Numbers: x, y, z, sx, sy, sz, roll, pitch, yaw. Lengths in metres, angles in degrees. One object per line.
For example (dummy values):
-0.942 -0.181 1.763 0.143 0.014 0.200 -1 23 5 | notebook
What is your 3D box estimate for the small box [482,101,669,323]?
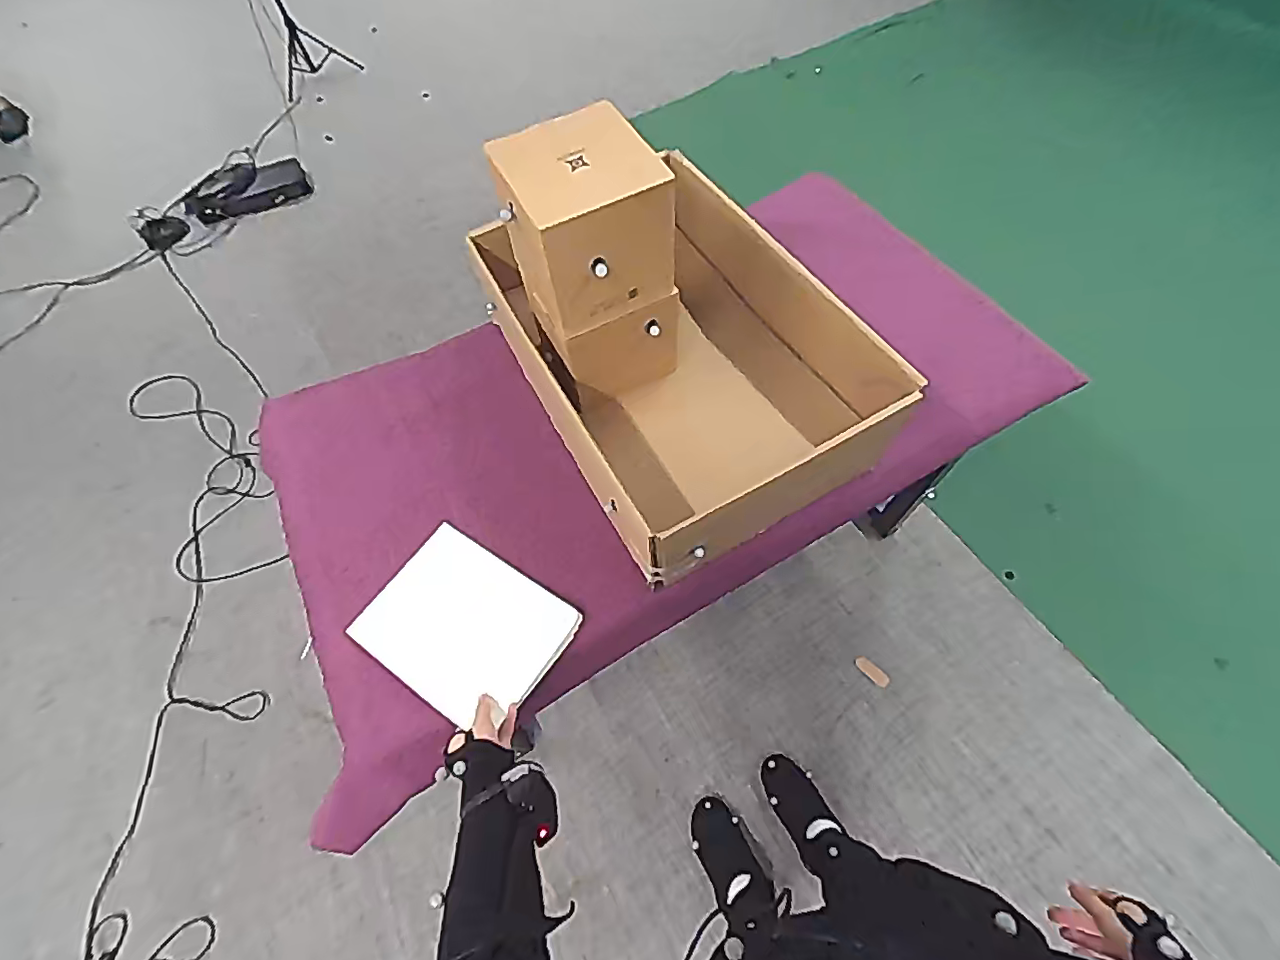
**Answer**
-0.071 -0.325 0.682 0.168 0.176 0.179 -26 64 -10 | small box
